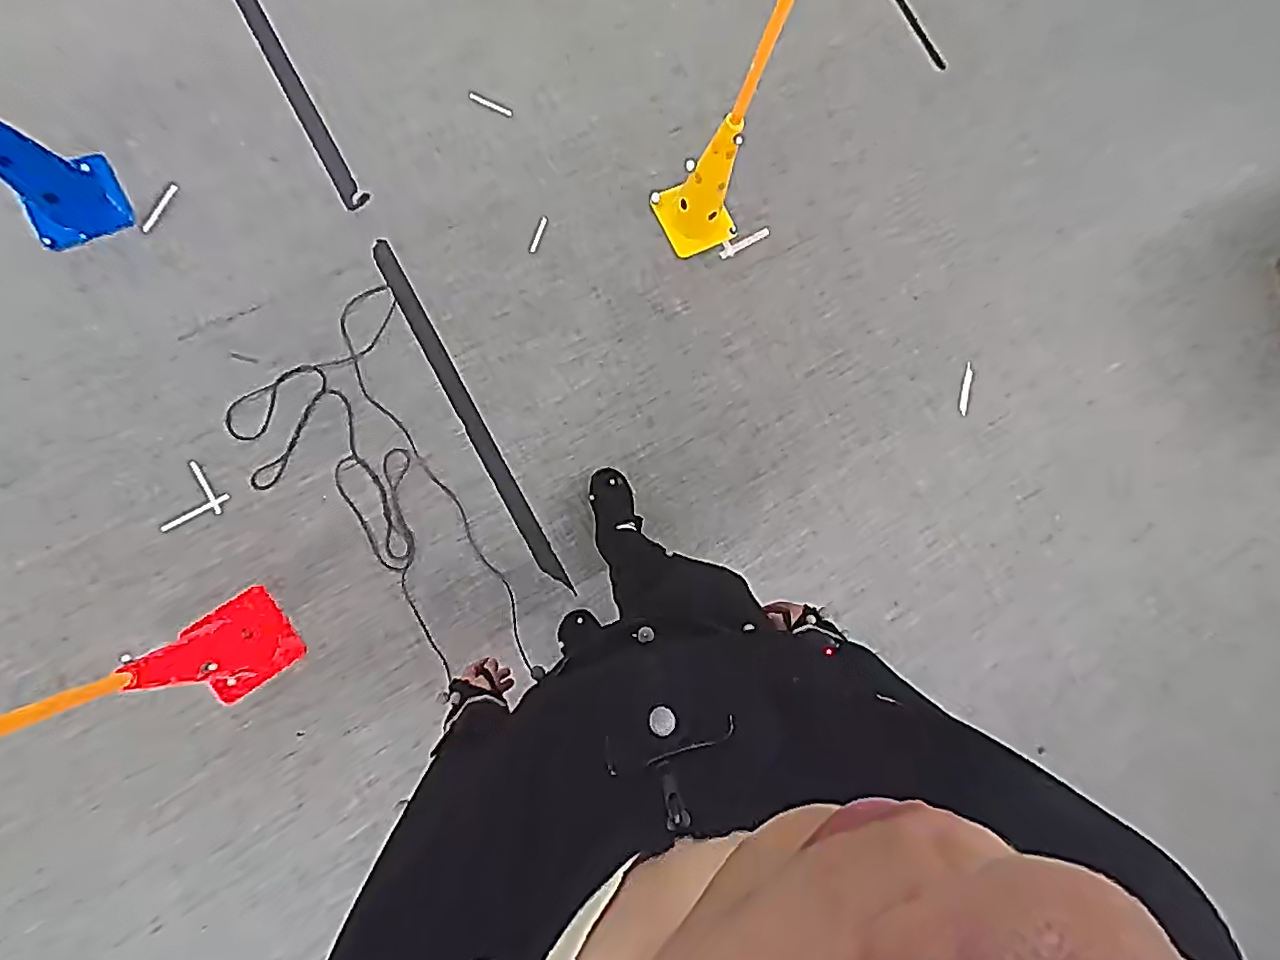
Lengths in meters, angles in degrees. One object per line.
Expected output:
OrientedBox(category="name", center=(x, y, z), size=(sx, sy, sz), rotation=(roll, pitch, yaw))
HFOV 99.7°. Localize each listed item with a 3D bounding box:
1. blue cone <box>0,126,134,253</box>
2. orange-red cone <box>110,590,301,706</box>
OrientedBox(category="blue cone", center=(-1.300, -0.669, 1.119), size=(0.193, 0.380, 0.192), rotation=(-26, 88, -11))
OrientedBox(category="orange-red cone", center=(-0.859, 0.347, 1.036), size=(0.199, 0.360, 0.198), rotation=(-34, 89, -13))
